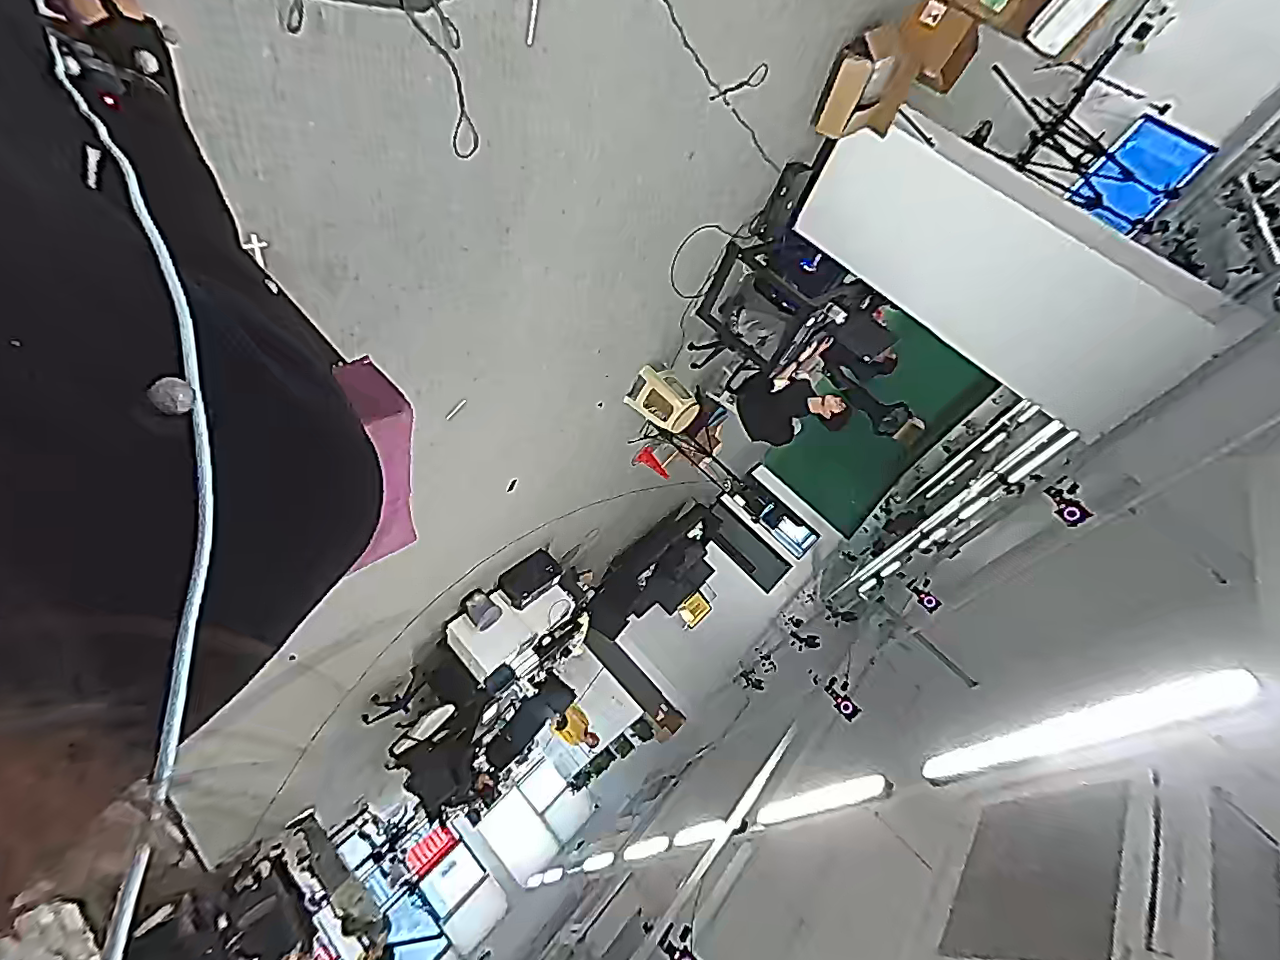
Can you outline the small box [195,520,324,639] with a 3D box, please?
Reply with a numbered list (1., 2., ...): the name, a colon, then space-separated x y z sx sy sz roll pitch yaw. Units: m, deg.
1. small box: -0.842 0.214 1.204 0.168 0.176 0.179 -34 161 -37
